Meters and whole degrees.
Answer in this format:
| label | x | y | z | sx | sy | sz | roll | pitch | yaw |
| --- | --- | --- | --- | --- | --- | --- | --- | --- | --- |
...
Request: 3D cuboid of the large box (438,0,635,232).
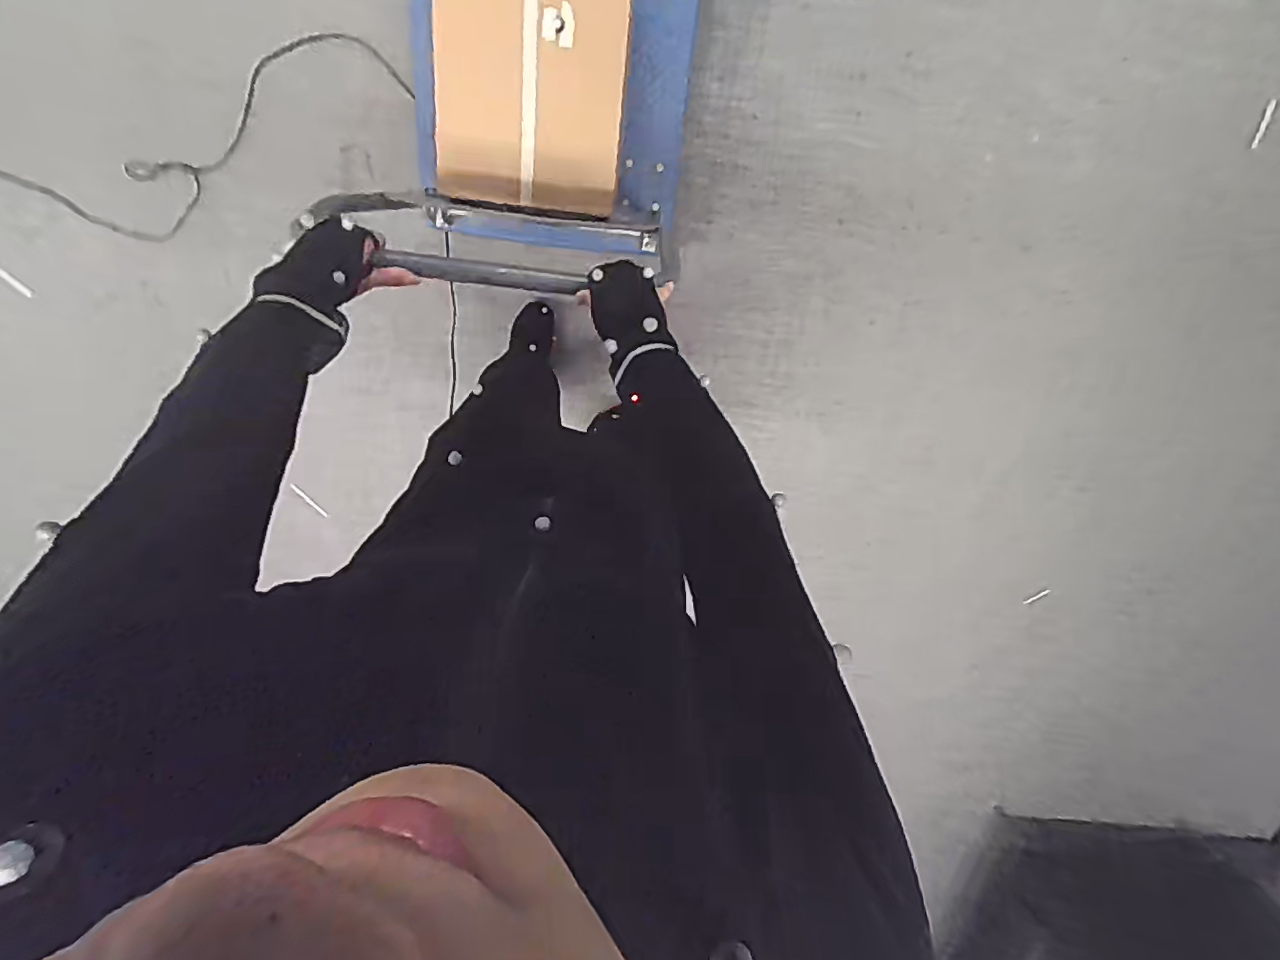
| label | x | y | z | sx | sy | sz | roll | pitch | yaw |
| --- | --- | --- | --- | --- | --- | --- | --- | --- | --- |
| large box | -0.180 | -0.714 | 1.041 | 0.320 | 0.320 | 0.408 | 5 | 112 | -4 |
